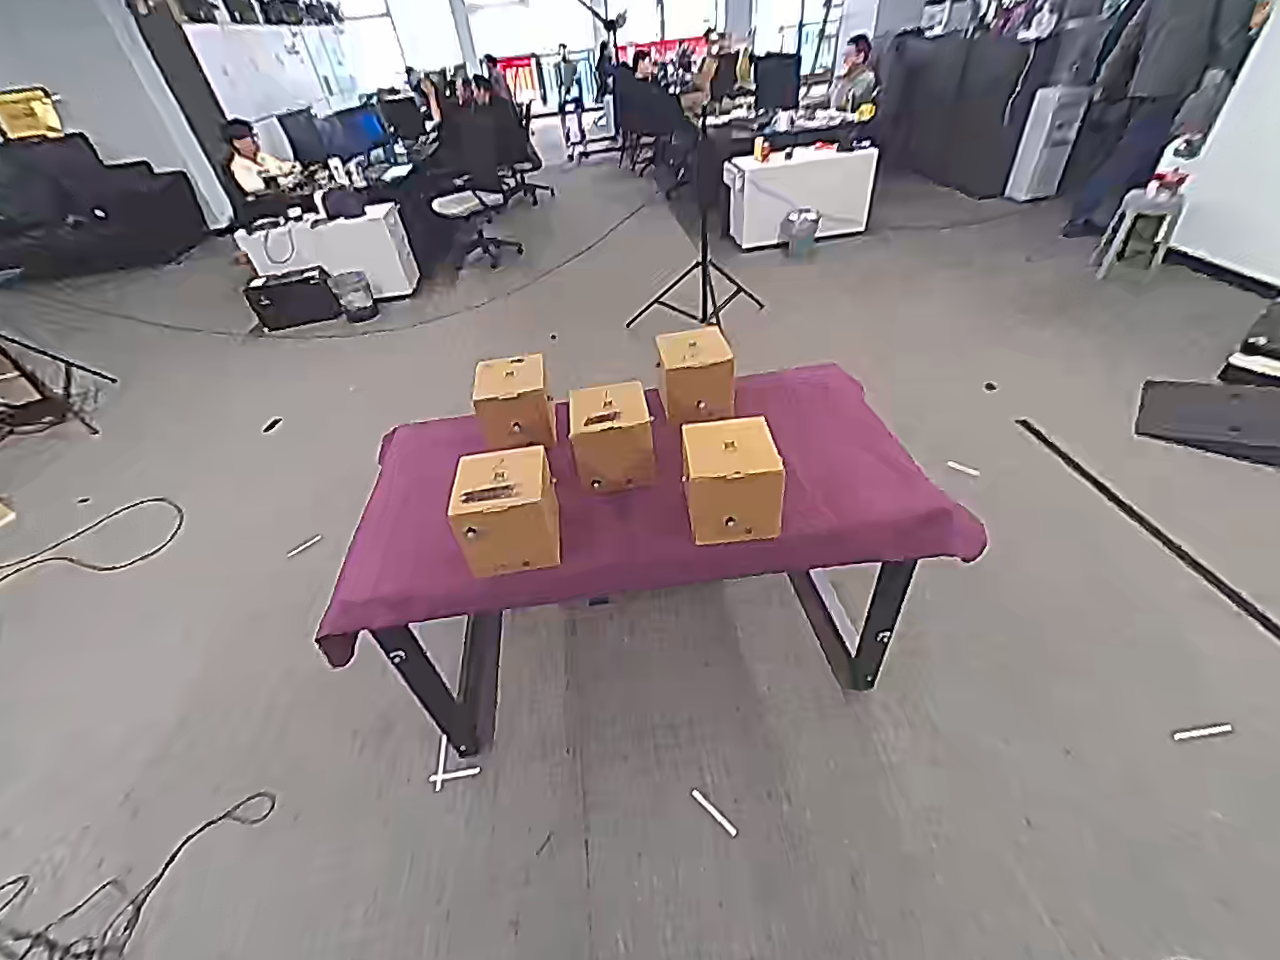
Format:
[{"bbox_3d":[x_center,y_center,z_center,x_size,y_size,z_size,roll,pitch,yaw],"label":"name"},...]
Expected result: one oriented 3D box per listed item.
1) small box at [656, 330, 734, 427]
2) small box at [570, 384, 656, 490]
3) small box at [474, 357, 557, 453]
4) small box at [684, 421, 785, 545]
[{"bbox_3d":[0.137,-0.257,1.376,0.168,0.176,0.179,-9,41,-2],"label":"small box"},{"bbox_3d":[-0.060,-0.090,1.211,0.168,0.176,0.179,-8,40,-2],"label":"small box"},{"bbox_3d":[-0.303,-0.181,1.348,0.168,0.176,0.179,-9,42,-3],"label":"small box"},{"bbox_3d":[0.177,0.005,1.064,0.168,0.176,0.179,-6,39,1],"label":"small box"}]
